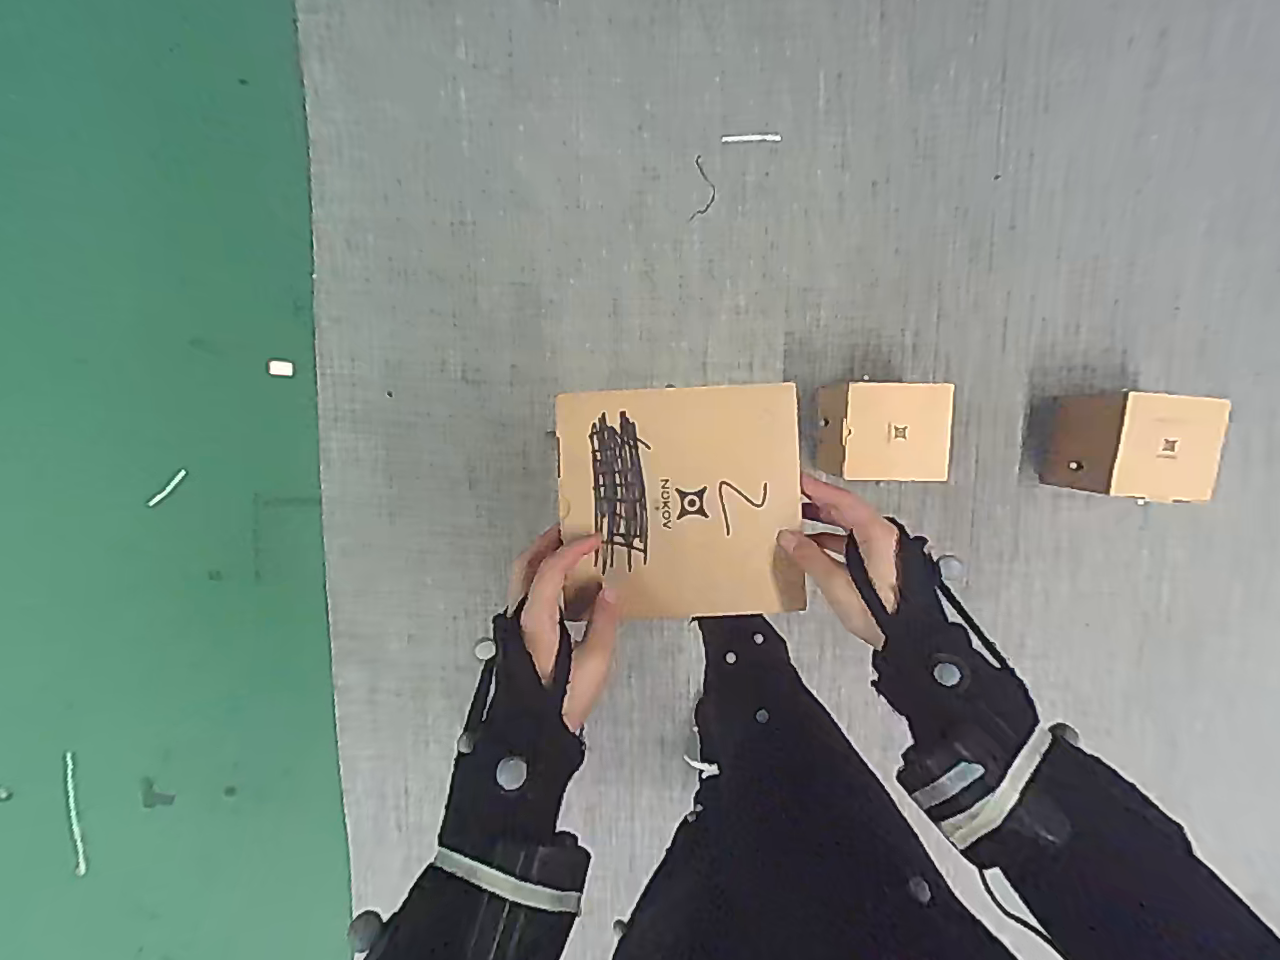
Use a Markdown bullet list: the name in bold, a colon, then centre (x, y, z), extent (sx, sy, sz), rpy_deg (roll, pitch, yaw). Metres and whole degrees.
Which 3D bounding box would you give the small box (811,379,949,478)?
- **small box**: centre (0.426, -0.097, 0.984), extent (0.179, 0.176, 0.168), rpy_deg (1, 97, 3)

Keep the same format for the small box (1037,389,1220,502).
- **small box**: centre (0.856, -0.065, 0.968), extent (0.168, 0.176, 0.179), rpy_deg (5, 96, 1)
